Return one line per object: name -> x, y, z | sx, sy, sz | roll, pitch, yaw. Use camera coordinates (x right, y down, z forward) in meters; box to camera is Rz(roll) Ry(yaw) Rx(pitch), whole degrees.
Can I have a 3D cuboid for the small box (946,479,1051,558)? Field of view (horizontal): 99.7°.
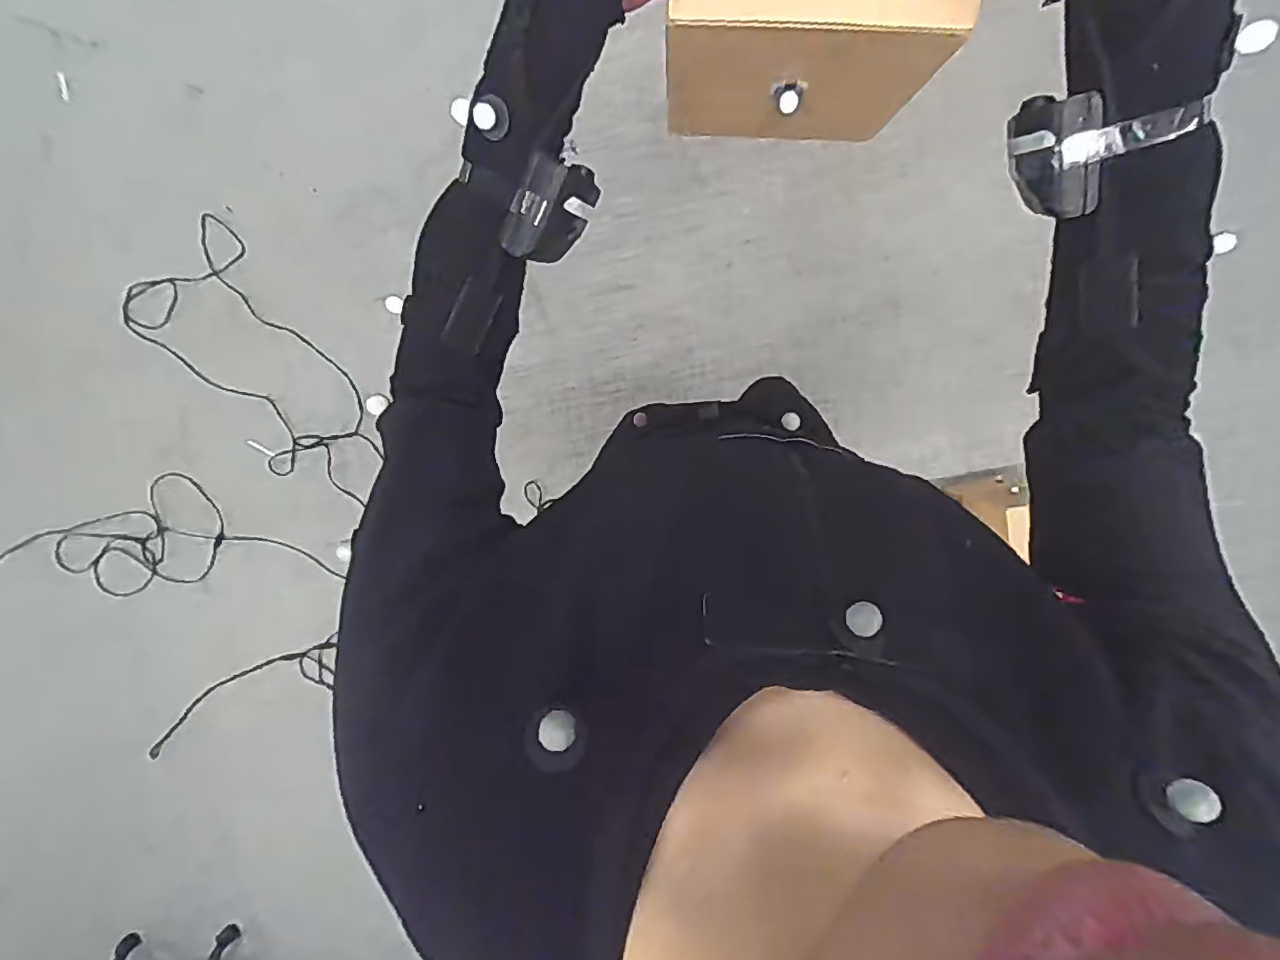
small box -> 0.893, 0.100, 1.341 | 0.168, 0.176, 0.179 | -15, 95, 5
